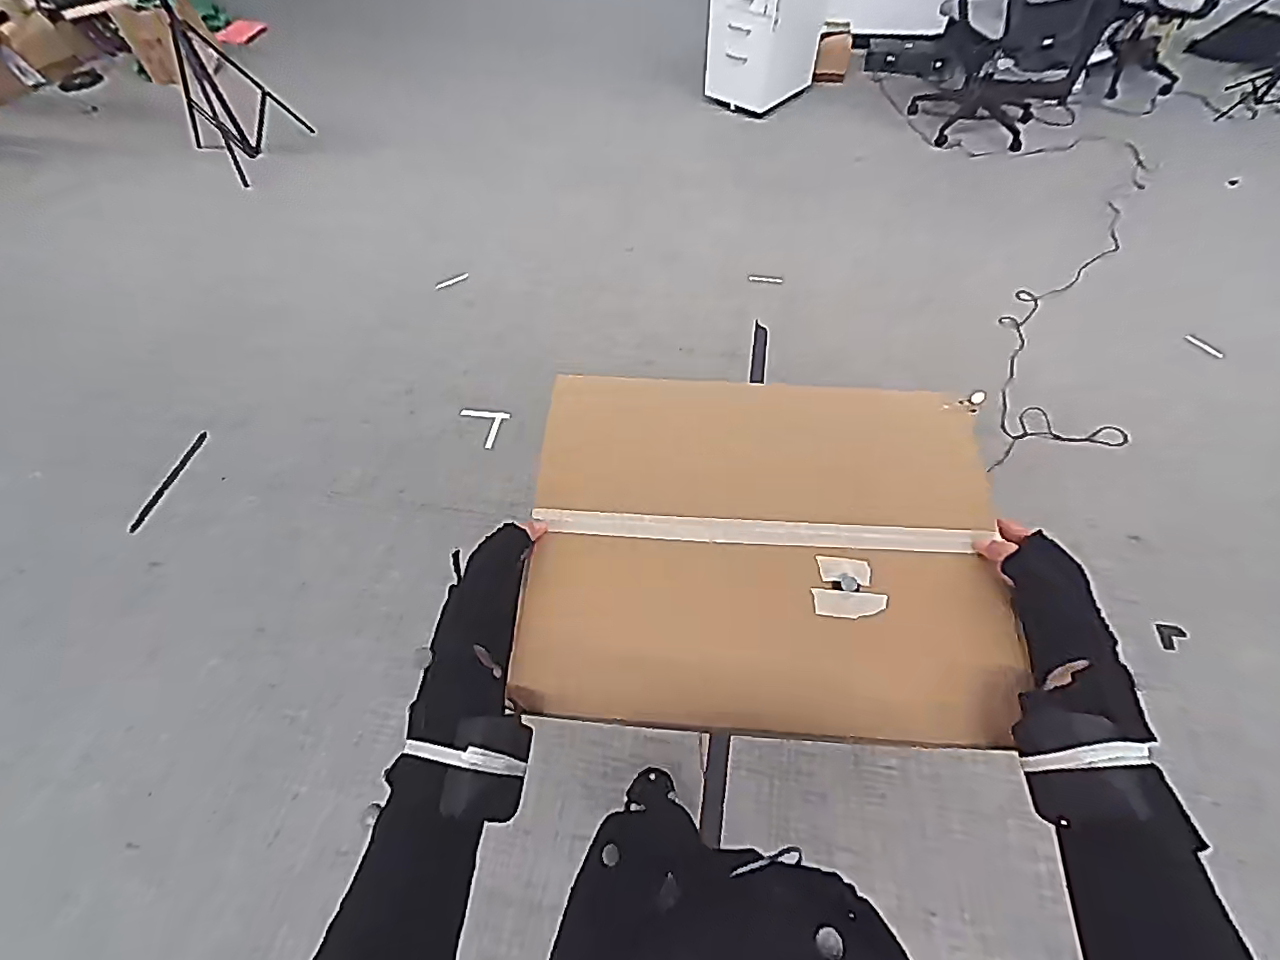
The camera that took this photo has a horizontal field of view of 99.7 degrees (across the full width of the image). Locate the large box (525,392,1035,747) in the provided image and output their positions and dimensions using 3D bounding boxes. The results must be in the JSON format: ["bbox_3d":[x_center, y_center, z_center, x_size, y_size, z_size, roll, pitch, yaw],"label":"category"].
[{"bbox_3d":[0.113,0.119,0.614,0.408,0.320,0.320,3,66,2],"label":"large box"}]
